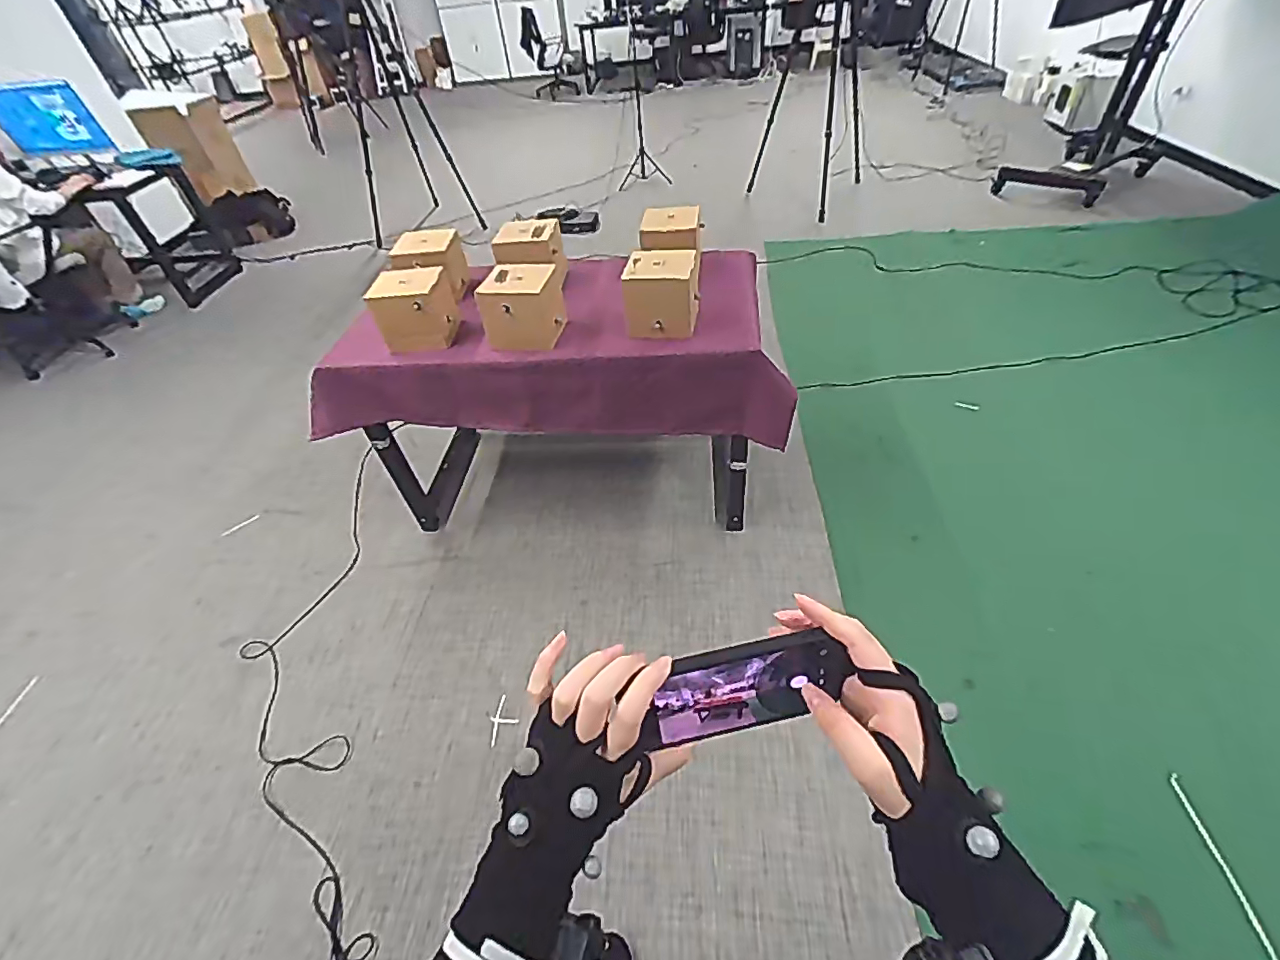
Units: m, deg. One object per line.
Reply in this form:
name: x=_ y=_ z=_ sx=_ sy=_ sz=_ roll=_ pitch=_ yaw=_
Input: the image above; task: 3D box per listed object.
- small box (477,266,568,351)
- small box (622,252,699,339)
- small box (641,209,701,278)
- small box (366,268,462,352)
small box: x=-0.309 y=-0.462 z=1.459 sx=0.179 sy=0.176 sz=0.168 roll=4 pitch=46 yaw=10
small box: x=0.061 y=-0.489 z=1.441 sx=0.179 sy=0.176 sz=0.168 roll=5 pitch=46 yaw=11
small box: x=0.100 y=-0.713 z=1.658 sx=0.168 sy=0.176 sz=0.179 roll=2 pitch=46 yaw=9
small box: x=-0.619 y=-0.468 z=1.504 sx=0.179 sy=0.176 sz=0.168 roll=-4 pitch=45 yaw=1
